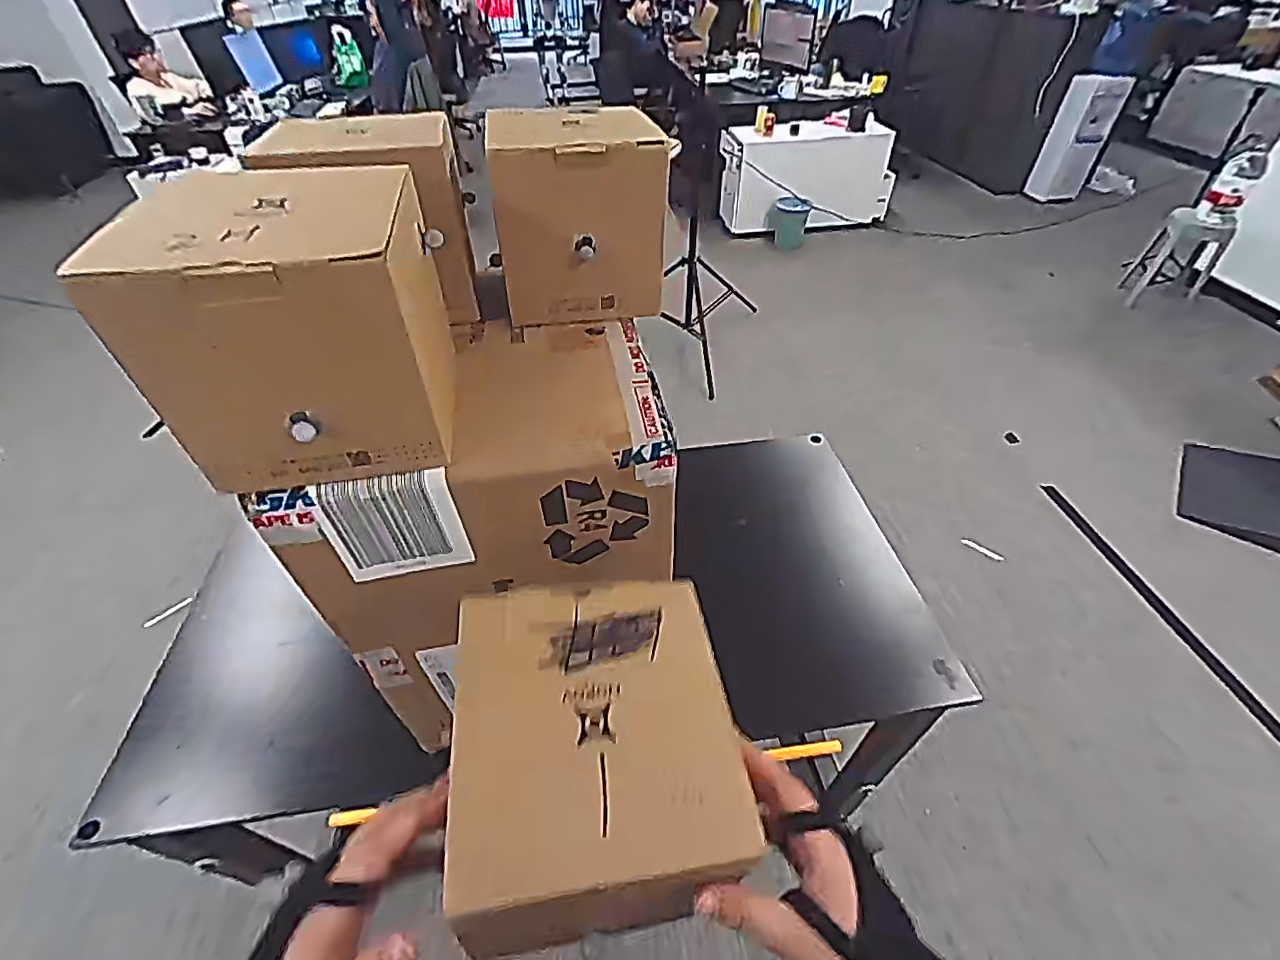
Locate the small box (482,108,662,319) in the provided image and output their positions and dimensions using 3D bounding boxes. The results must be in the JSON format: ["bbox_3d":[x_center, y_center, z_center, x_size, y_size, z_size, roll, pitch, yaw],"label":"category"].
[{"bbox_3d":[-0.073,-0.288,0.593,0.168,0.176,0.179,-7,45,-9],"label":"small box"}]

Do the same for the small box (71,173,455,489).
[{"bbox_3d":[-0.246,-0.118,0.416,0.168,0.176,0.179,-8,46,-9],"label":"small box"}]

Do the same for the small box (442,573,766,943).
[{"bbox_3d":[-0.036,0.188,0.380,0.168,0.176,0.179,-2,44,-11],"label":"small box"}]
